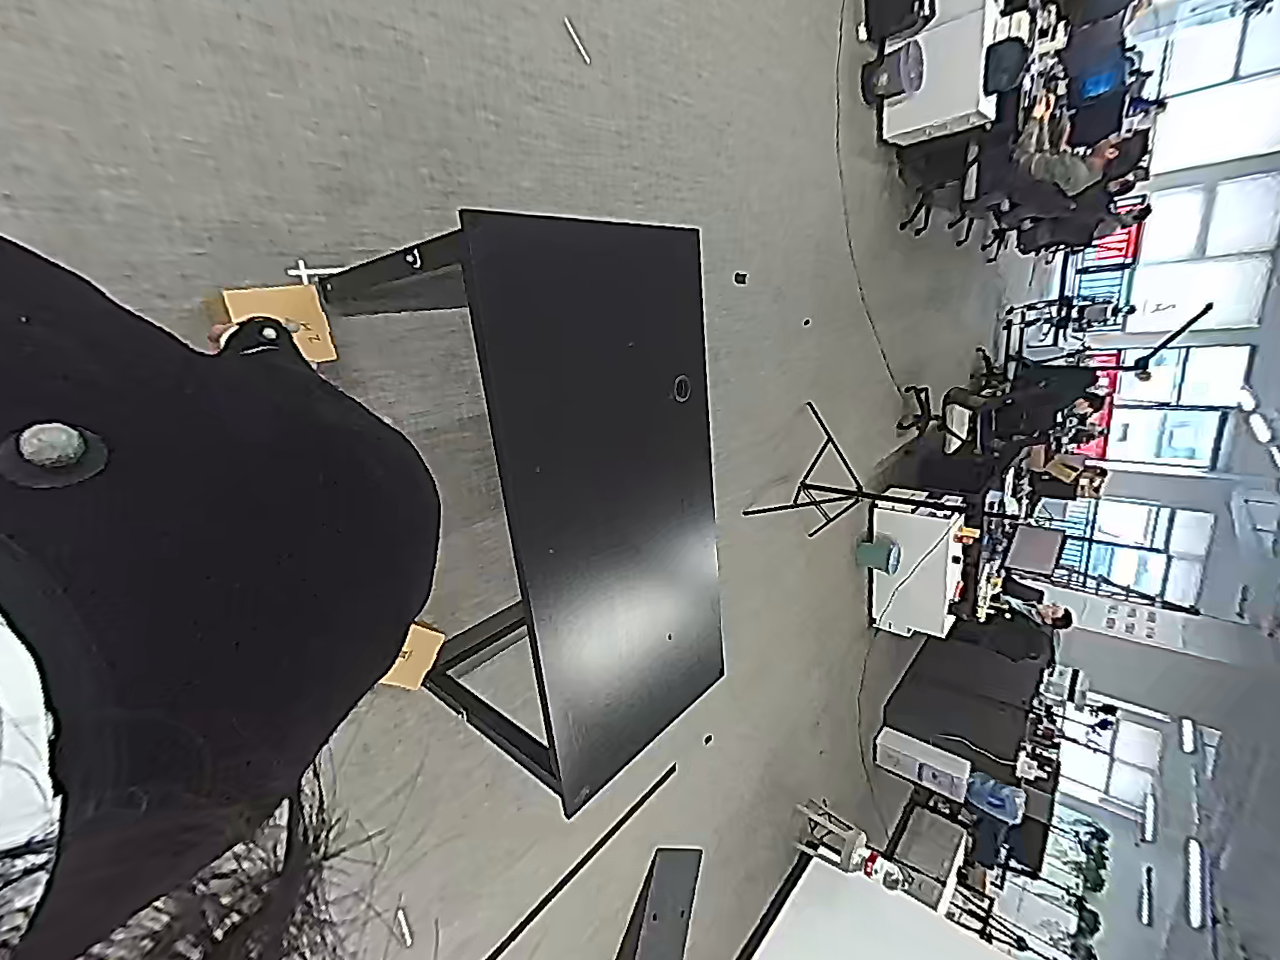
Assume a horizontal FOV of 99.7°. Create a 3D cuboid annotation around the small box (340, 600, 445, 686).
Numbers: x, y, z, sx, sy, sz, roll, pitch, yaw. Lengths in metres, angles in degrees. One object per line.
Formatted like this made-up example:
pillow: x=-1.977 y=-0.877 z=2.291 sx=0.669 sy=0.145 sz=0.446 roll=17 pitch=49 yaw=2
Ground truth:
small box: x=-0.689 y=0.450 z=1.506 sx=0.179 sy=0.176 sz=0.168 roll=39 pitch=68 yaw=-44
